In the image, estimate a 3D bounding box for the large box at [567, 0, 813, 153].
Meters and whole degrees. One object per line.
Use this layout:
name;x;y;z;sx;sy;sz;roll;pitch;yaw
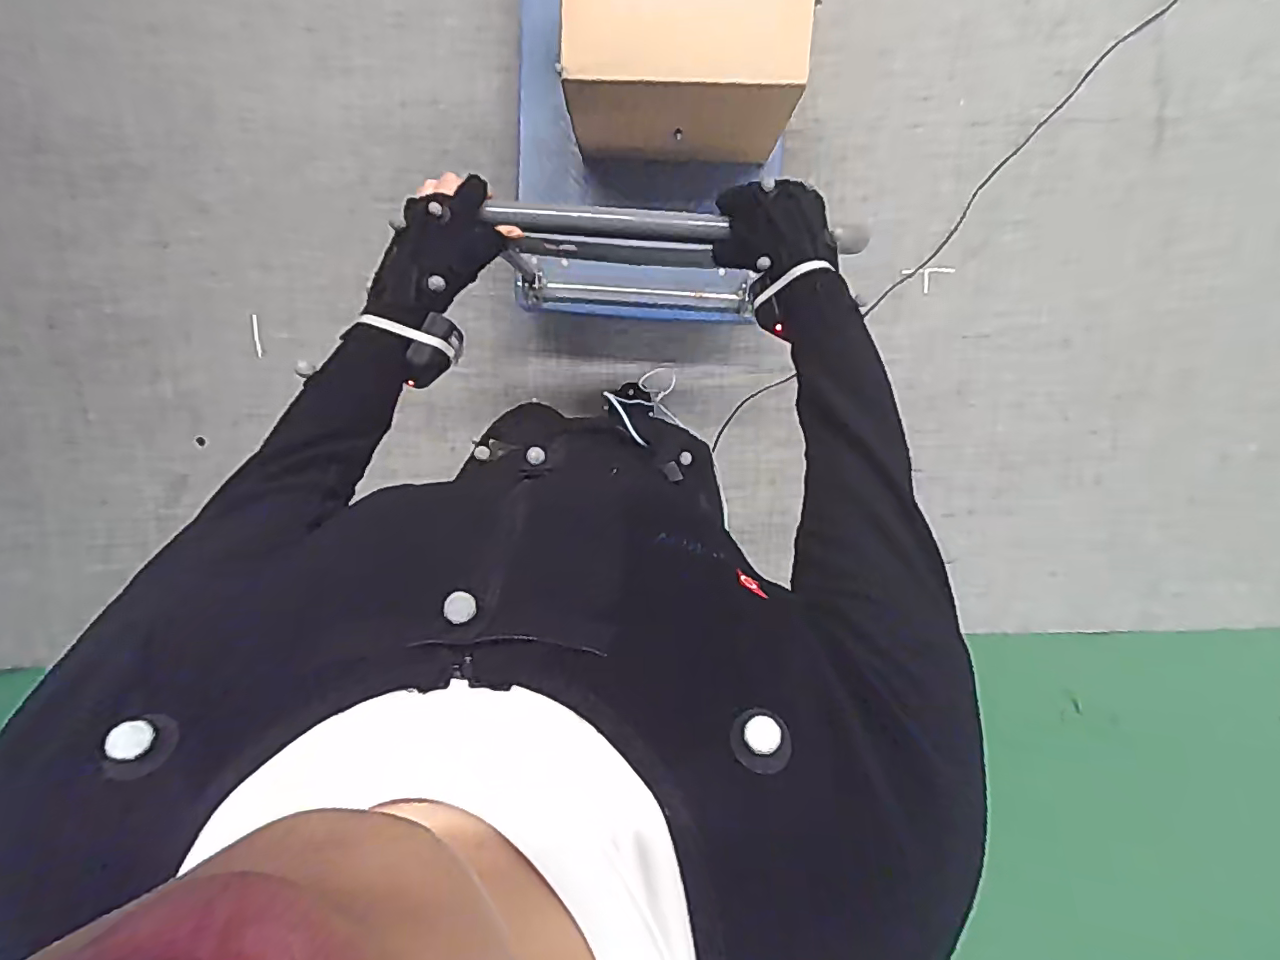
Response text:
large box;0.085;-0.837;1.009;0.408;0.320;0.320;1;100;1
